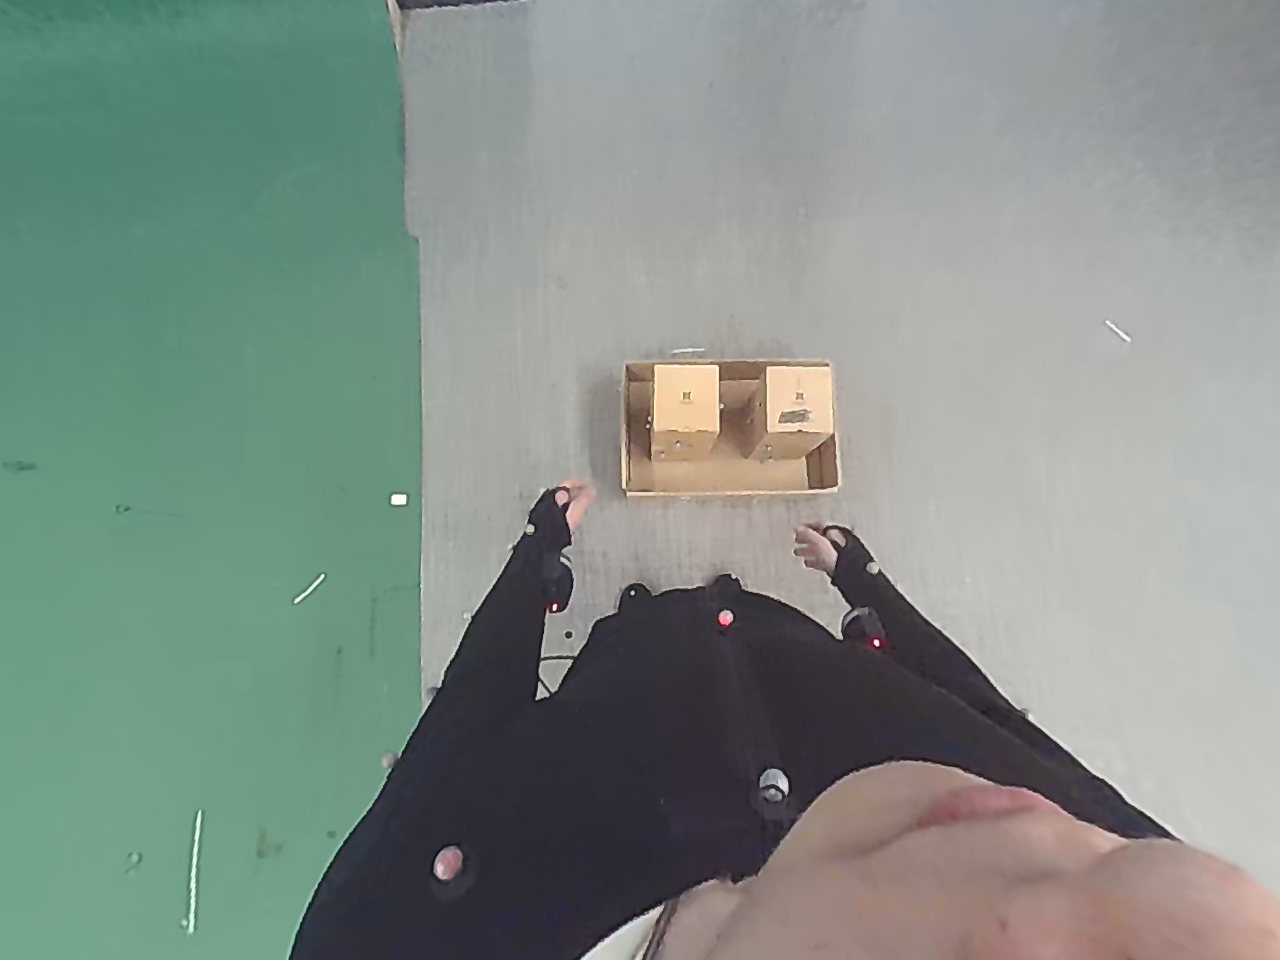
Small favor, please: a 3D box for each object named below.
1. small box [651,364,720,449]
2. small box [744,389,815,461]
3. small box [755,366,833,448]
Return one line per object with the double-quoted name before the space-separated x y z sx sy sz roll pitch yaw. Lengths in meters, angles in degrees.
"small box" 0.114 -0.189 1.419 0.168 0.176 0.179 0 79 -1
"small box" 0.401 -0.158 1.578 0.168 0.176 0.179 -1 81 2
"small box" 0.398 -0.186 1.416 0.168 0.176 0.179 1 79 2
